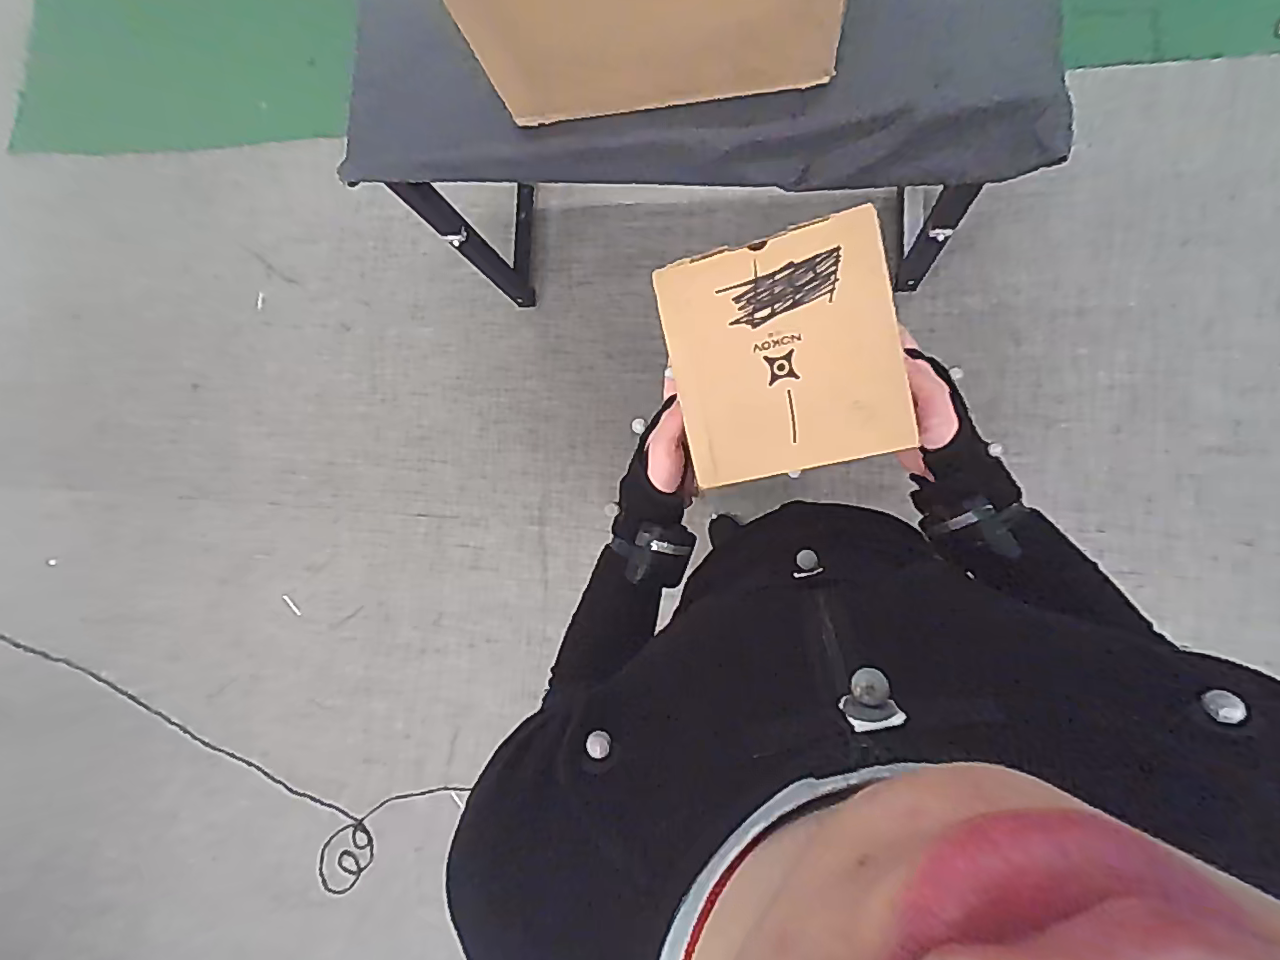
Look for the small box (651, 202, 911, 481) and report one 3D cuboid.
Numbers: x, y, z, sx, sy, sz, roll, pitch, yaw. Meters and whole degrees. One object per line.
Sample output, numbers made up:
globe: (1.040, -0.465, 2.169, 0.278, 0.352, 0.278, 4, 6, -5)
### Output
small box: (0.120, -0.106, 0.479, 0.168, 0.176, 0.179, -11, 95, 16)
